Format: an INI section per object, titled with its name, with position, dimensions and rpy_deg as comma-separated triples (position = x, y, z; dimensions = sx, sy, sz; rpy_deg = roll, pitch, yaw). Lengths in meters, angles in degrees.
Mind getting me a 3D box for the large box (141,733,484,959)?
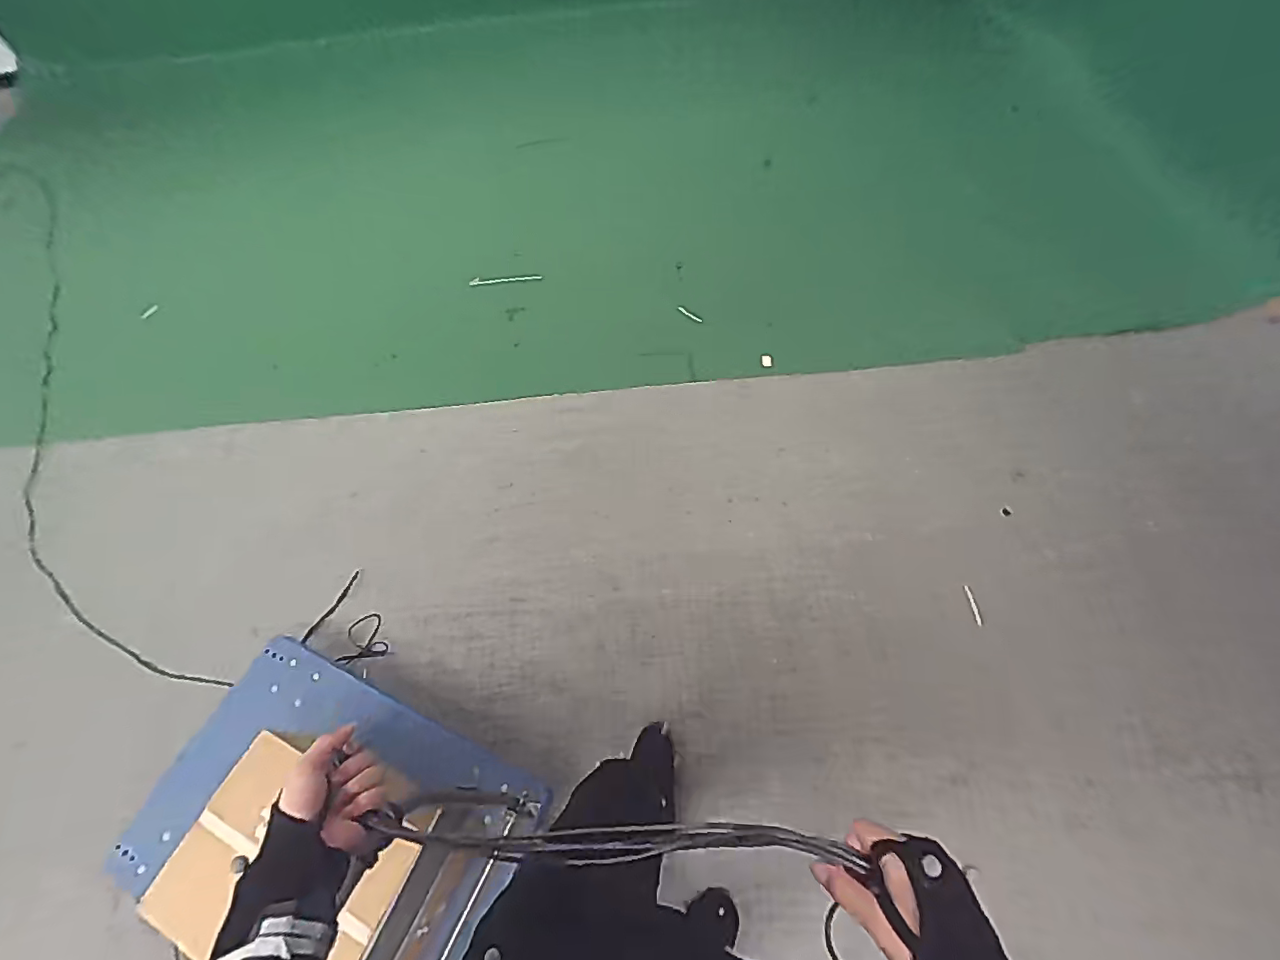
[large box]
position = -0.591, 0.743, 1.050
dimensions = 0.408, 0.320, 0.320
rpy_deg = 20, 64, 17
